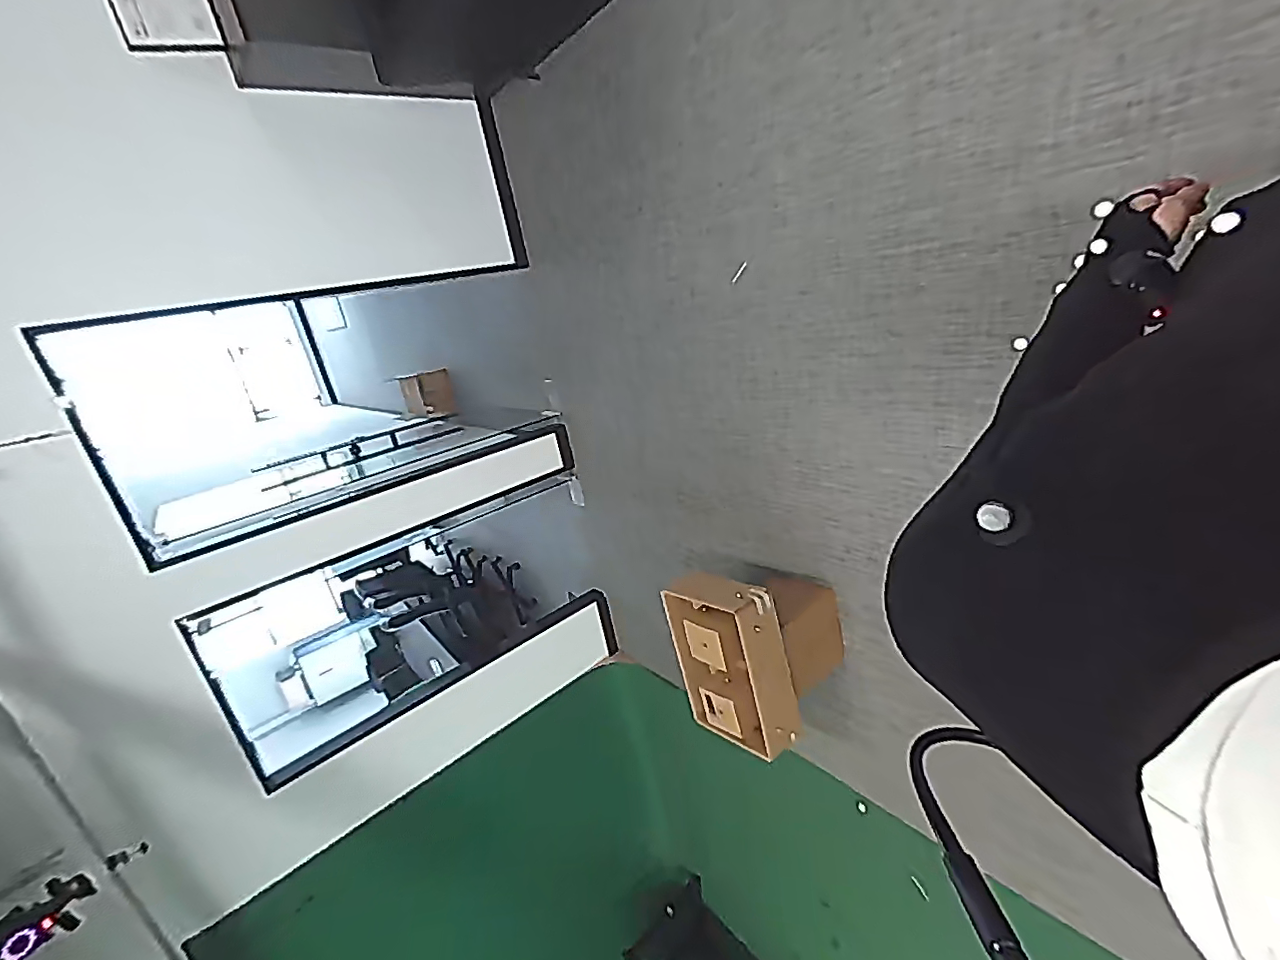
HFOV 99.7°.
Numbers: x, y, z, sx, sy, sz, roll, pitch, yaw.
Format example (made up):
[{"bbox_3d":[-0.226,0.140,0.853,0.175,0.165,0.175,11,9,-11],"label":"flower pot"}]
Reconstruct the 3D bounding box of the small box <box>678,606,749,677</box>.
[{"bbox_3d":[0.268,0.580,1.970,0.179,0.176,0.168,6,115,51],"label":"small box"}]
